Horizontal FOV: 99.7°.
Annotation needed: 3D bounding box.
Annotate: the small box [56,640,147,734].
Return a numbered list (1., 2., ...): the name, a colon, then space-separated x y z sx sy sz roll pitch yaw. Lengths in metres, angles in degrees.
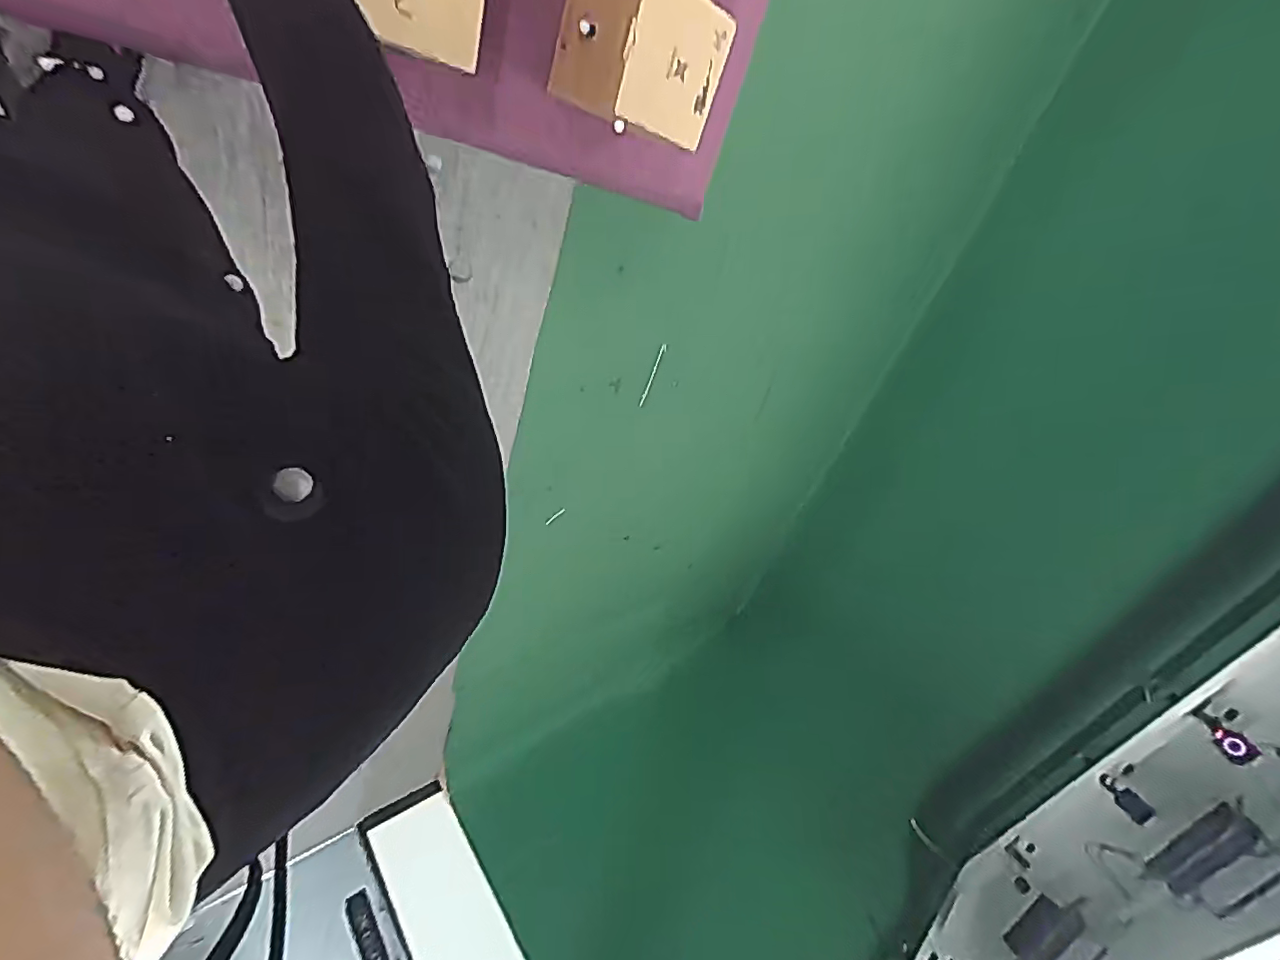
1. small box: -1.593 0.604 1.601 0.179 0.176 0.168 -6 130 -44

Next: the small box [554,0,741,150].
1. small box: 0.002 -0.603 0.769 0.179 0.176 0.168 -8 130 -43
